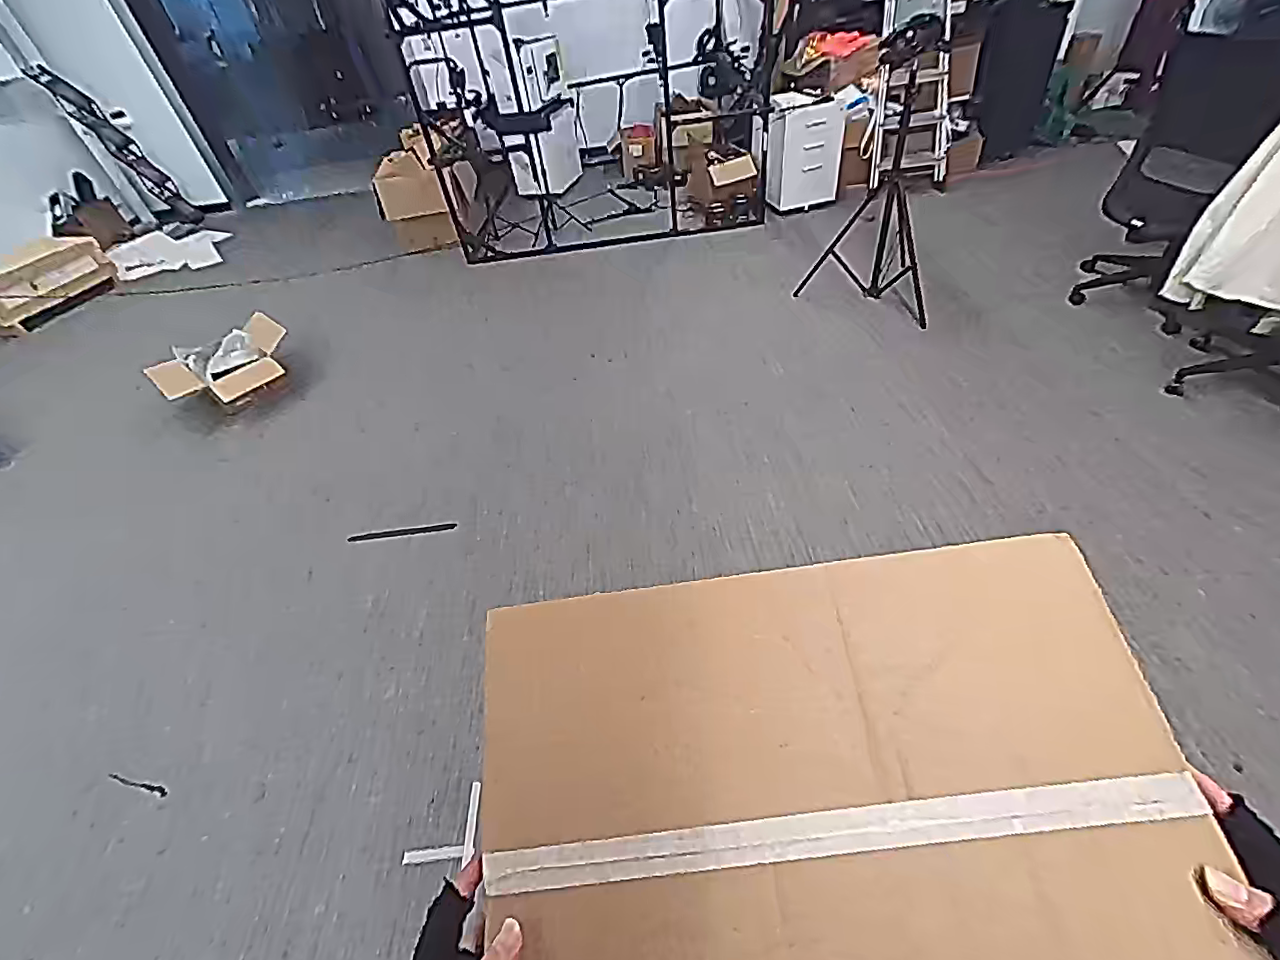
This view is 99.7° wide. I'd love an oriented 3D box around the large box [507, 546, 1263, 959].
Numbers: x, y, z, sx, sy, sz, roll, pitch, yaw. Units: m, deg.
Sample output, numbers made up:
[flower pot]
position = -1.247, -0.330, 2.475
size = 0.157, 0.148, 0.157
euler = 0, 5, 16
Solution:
[large box]
position = 0.131, 0.279, 0.453
size = 0.408, 0.320, 0.320
euler = -9, 64, 3
